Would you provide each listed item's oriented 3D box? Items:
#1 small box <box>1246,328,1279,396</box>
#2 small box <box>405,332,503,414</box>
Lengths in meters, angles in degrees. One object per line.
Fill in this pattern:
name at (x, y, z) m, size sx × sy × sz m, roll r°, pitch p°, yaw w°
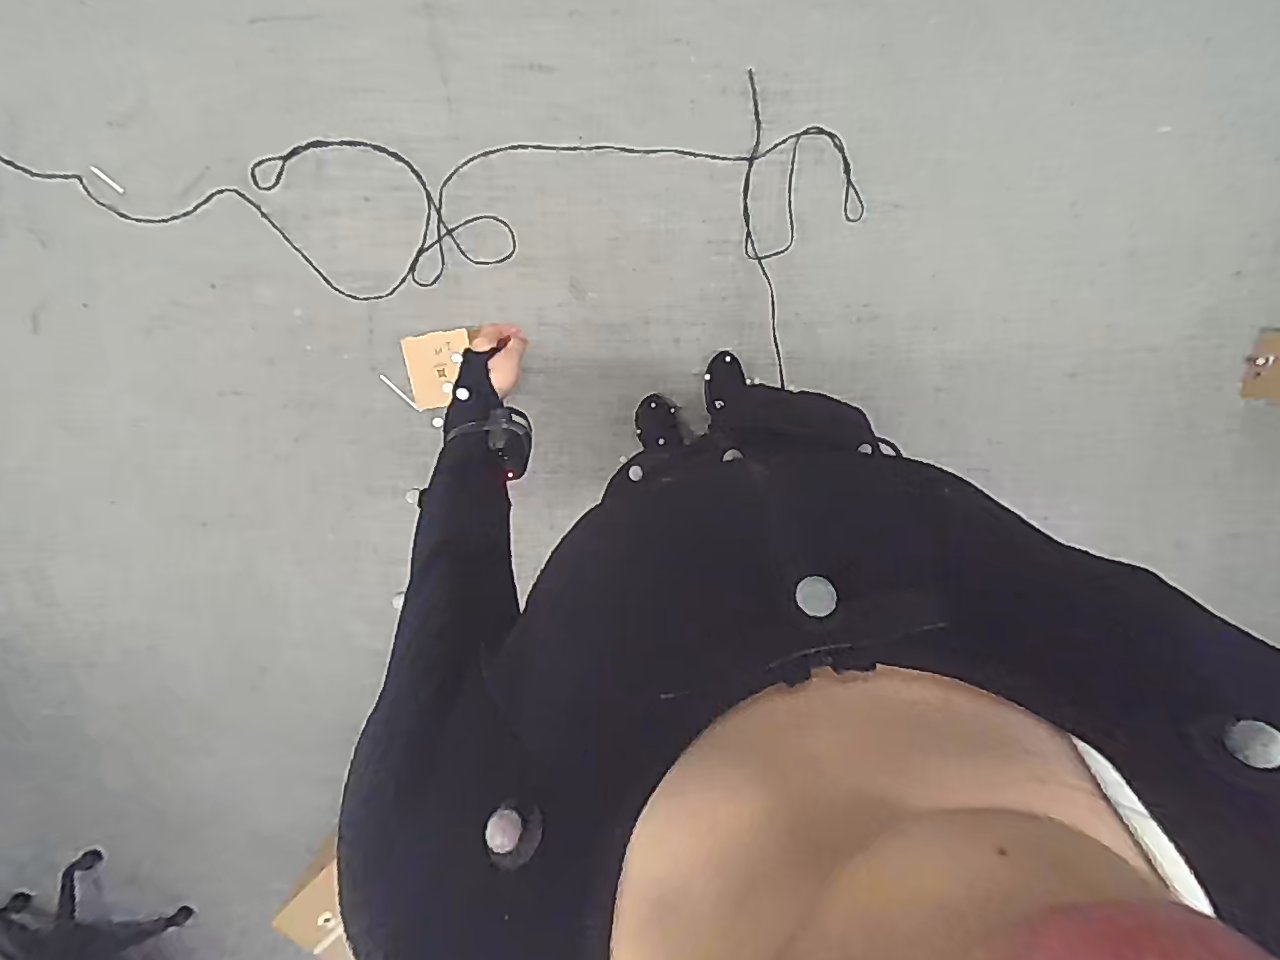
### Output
small box at (1.648, -0.285, 1.298) m, size 0.179 × 0.176 × 0.168 m, roll 0°, pitch 102°, yaw 3°
small box at (-0.461, -0.273, 1.368) m, size 0.168 × 0.176 × 0.179 m, roll -9°, pitch 102°, yaw 4°
